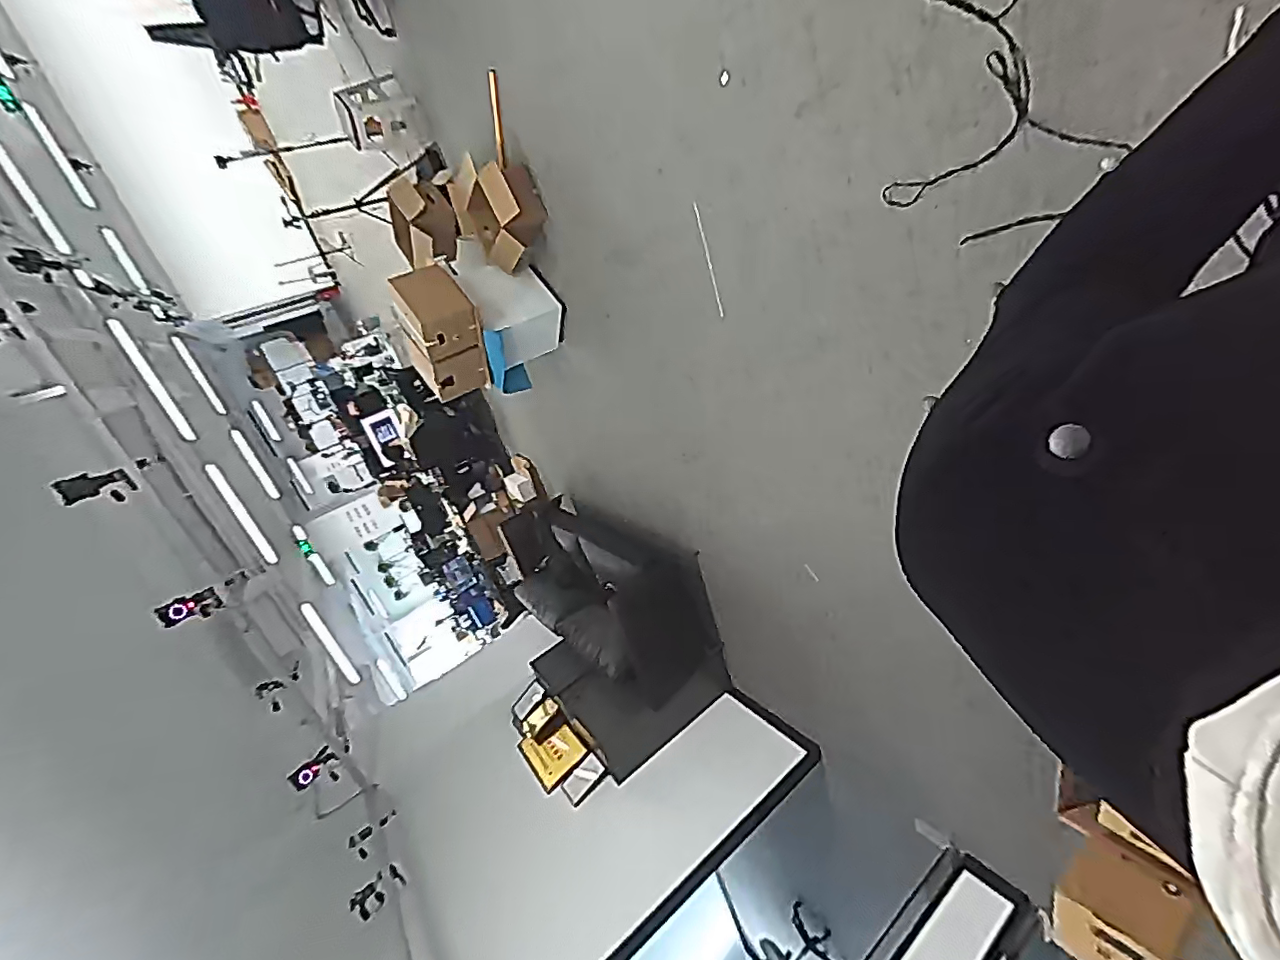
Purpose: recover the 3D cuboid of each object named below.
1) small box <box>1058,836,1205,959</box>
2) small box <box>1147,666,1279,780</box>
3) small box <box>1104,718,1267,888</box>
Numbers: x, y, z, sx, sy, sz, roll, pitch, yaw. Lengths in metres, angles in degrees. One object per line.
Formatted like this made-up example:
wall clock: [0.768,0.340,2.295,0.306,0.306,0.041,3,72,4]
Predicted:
small box: [0.937,0.840,1.034,0.168,0.176,0.179,19,130,56]
small box: [1.137,0.512,1.073,0.168,0.176,0.179,22,137,52]
small box: [1.009,0.586,1.004,0.168,0.176,0.179,24,137,53]
